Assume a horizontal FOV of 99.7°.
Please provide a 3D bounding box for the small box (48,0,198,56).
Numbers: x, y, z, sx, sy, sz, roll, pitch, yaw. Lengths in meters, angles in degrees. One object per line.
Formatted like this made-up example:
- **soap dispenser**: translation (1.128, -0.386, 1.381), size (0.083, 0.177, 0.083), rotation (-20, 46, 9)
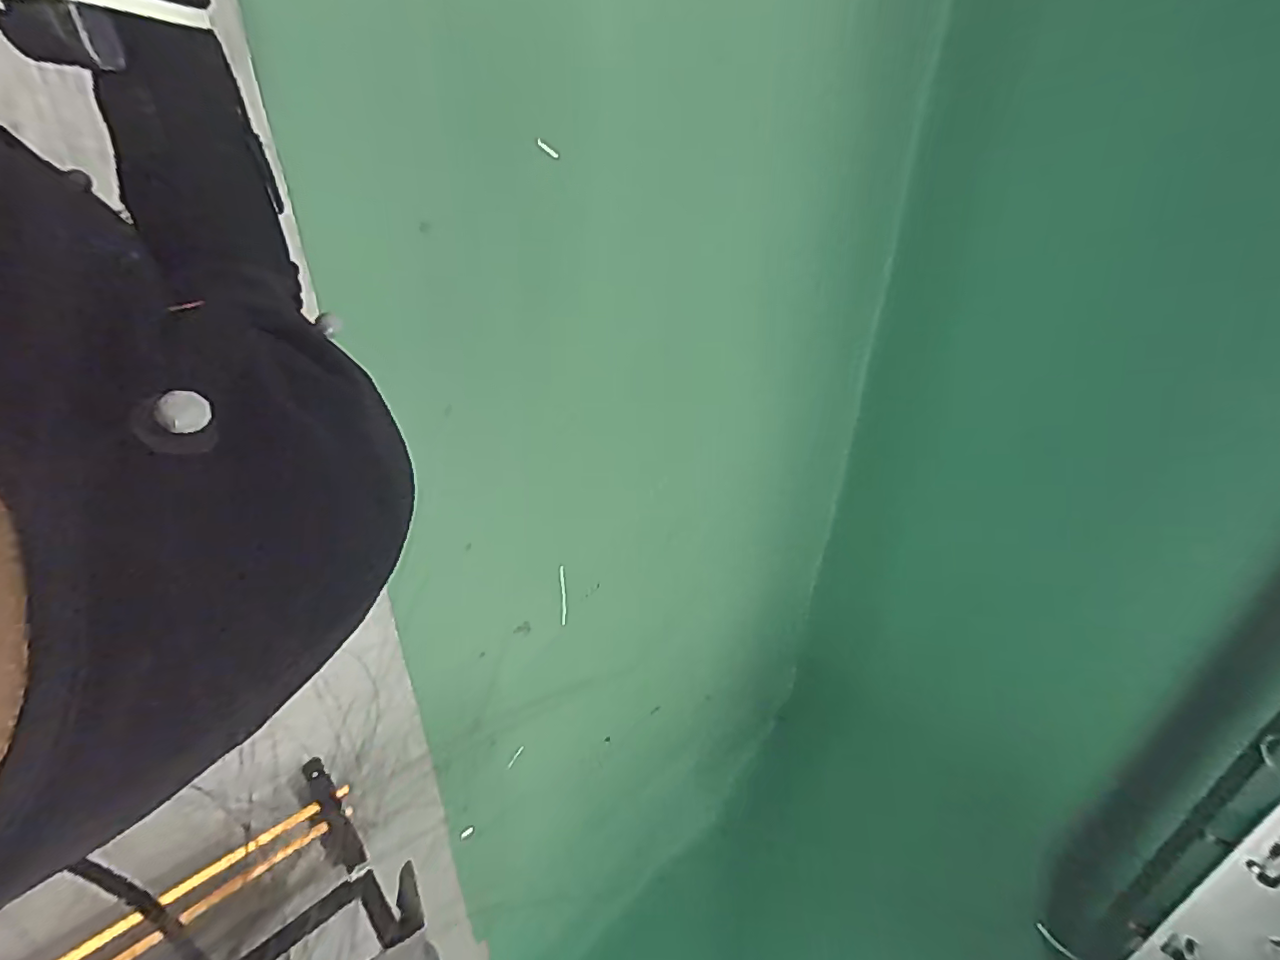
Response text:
- **small box**: translation (-0.843, -0.805, 0.861), size (0.168, 0.176, 0.179), rotation (-23, 126, -40)
